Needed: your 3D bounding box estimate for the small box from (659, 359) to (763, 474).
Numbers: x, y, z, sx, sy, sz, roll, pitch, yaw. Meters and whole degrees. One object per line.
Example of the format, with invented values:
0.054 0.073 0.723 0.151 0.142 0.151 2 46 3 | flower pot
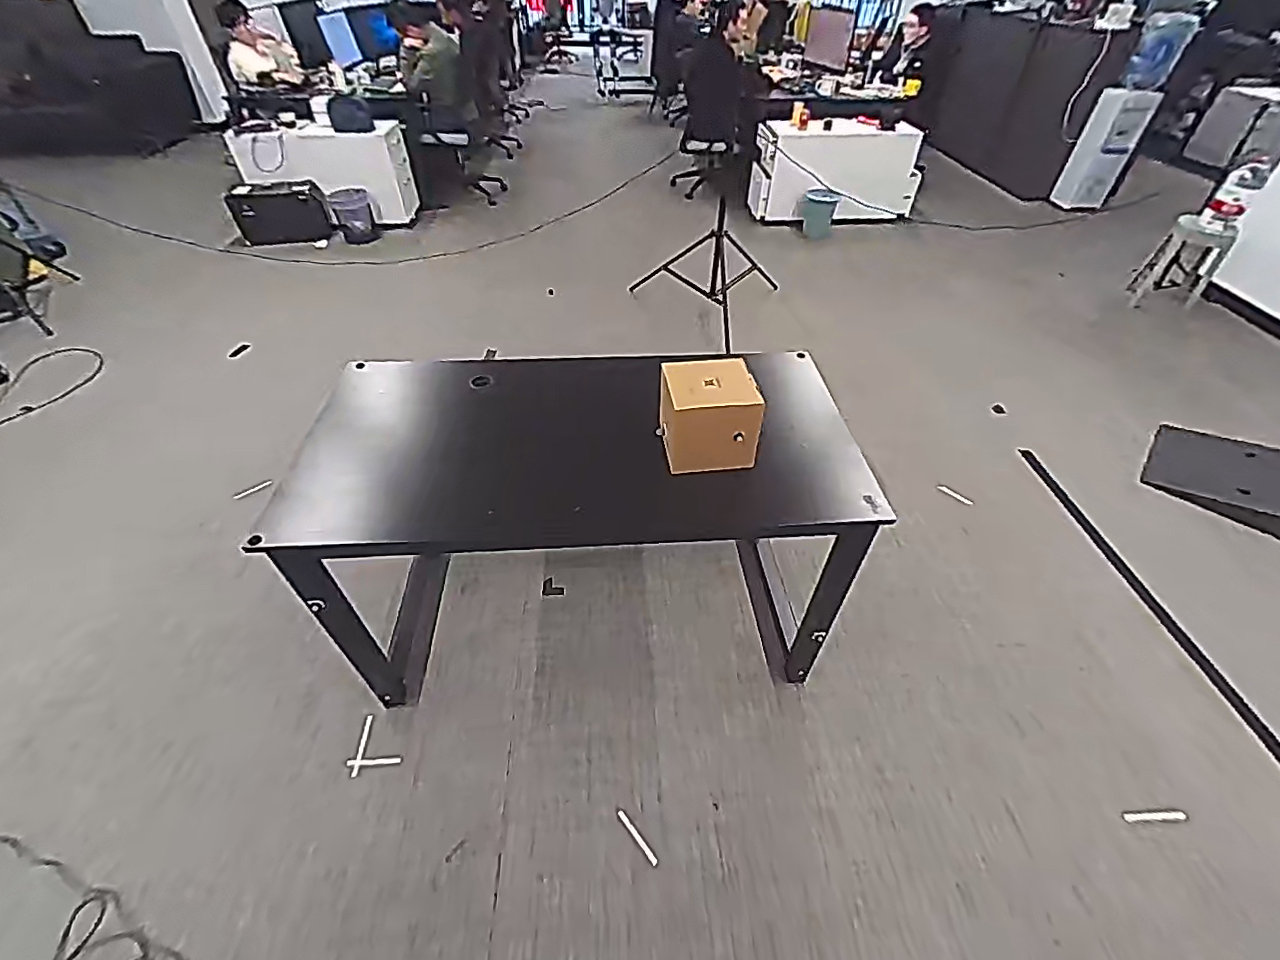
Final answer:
0.138 -0.132 1.126 0.179 0.176 0.168 -6 44 -5 | small box
